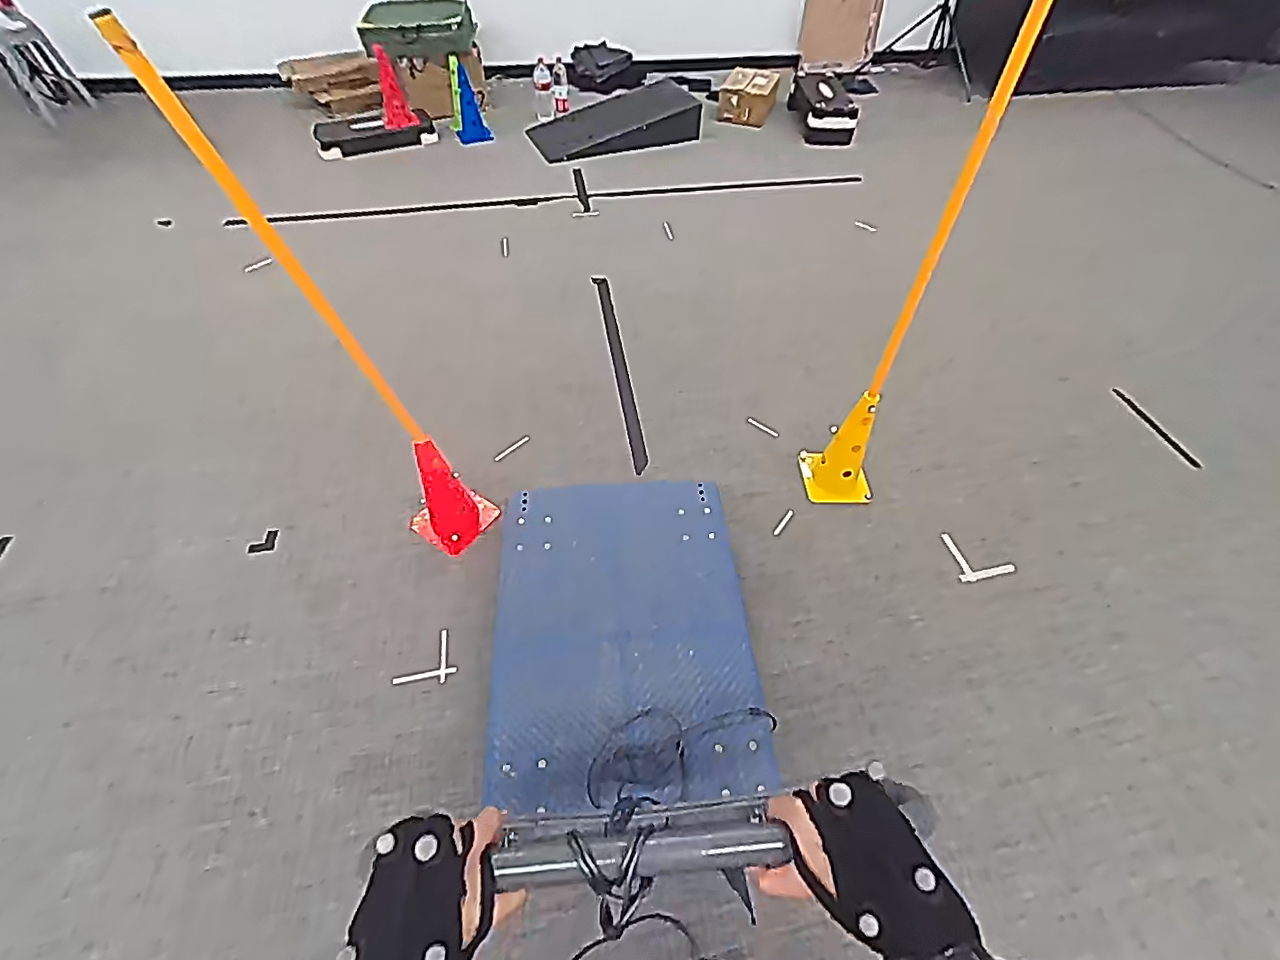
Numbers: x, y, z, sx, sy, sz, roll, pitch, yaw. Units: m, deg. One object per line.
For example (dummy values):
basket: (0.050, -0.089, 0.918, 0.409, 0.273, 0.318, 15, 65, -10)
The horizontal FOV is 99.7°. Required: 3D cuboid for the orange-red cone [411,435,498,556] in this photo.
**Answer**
orange-red cone: (-0.542, 0.009, 1.473, 0.198, 0.360, 0.199, 30, 56, 19)
